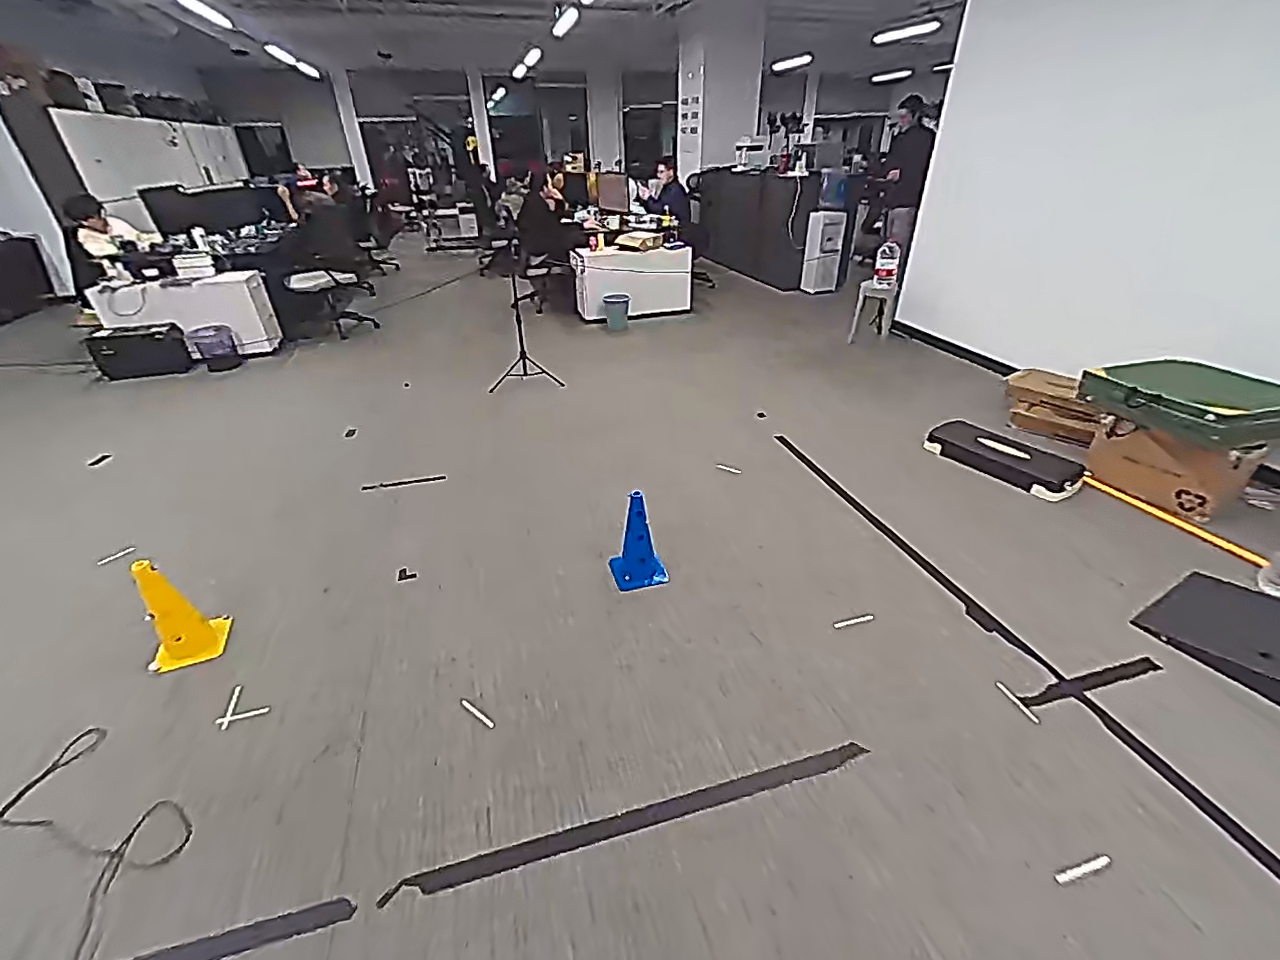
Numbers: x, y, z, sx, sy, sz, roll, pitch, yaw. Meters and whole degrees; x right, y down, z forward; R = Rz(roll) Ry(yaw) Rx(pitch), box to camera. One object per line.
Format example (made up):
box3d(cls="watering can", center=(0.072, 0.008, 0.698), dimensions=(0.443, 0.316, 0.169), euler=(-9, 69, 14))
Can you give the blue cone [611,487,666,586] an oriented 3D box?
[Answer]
box3d(cls="blue cone", center=(-0.009, 0.200, 2.016), dimensions=(0.193, 0.380, 0.192), euler=(-9, 31, -12))
